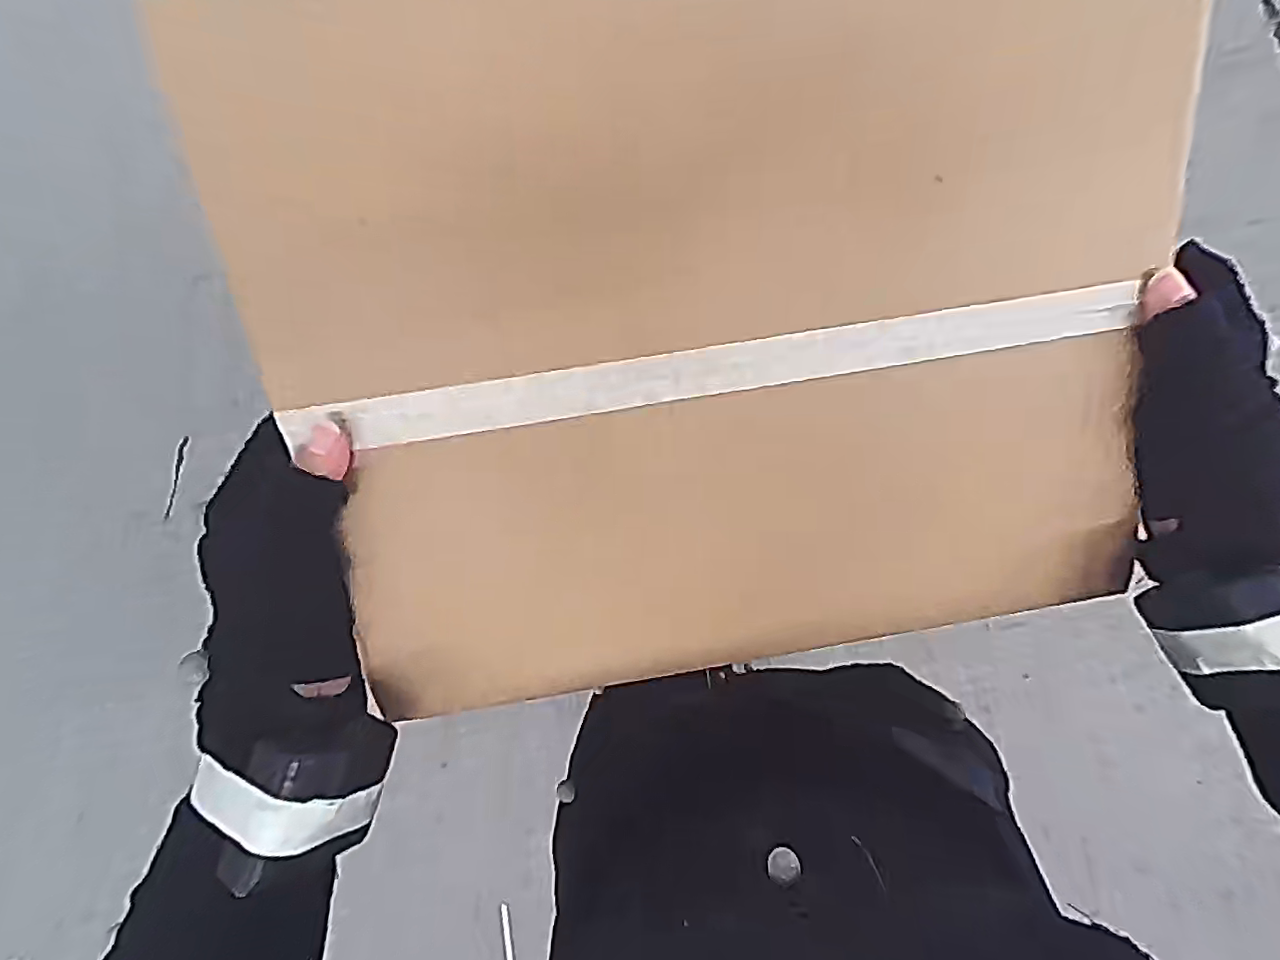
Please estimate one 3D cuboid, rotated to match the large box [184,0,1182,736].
[{"bbox_3d":[0.033,-0.083,0.395,0.408,0.320,0.320,-10,107,-3],"label":"large box"}]
